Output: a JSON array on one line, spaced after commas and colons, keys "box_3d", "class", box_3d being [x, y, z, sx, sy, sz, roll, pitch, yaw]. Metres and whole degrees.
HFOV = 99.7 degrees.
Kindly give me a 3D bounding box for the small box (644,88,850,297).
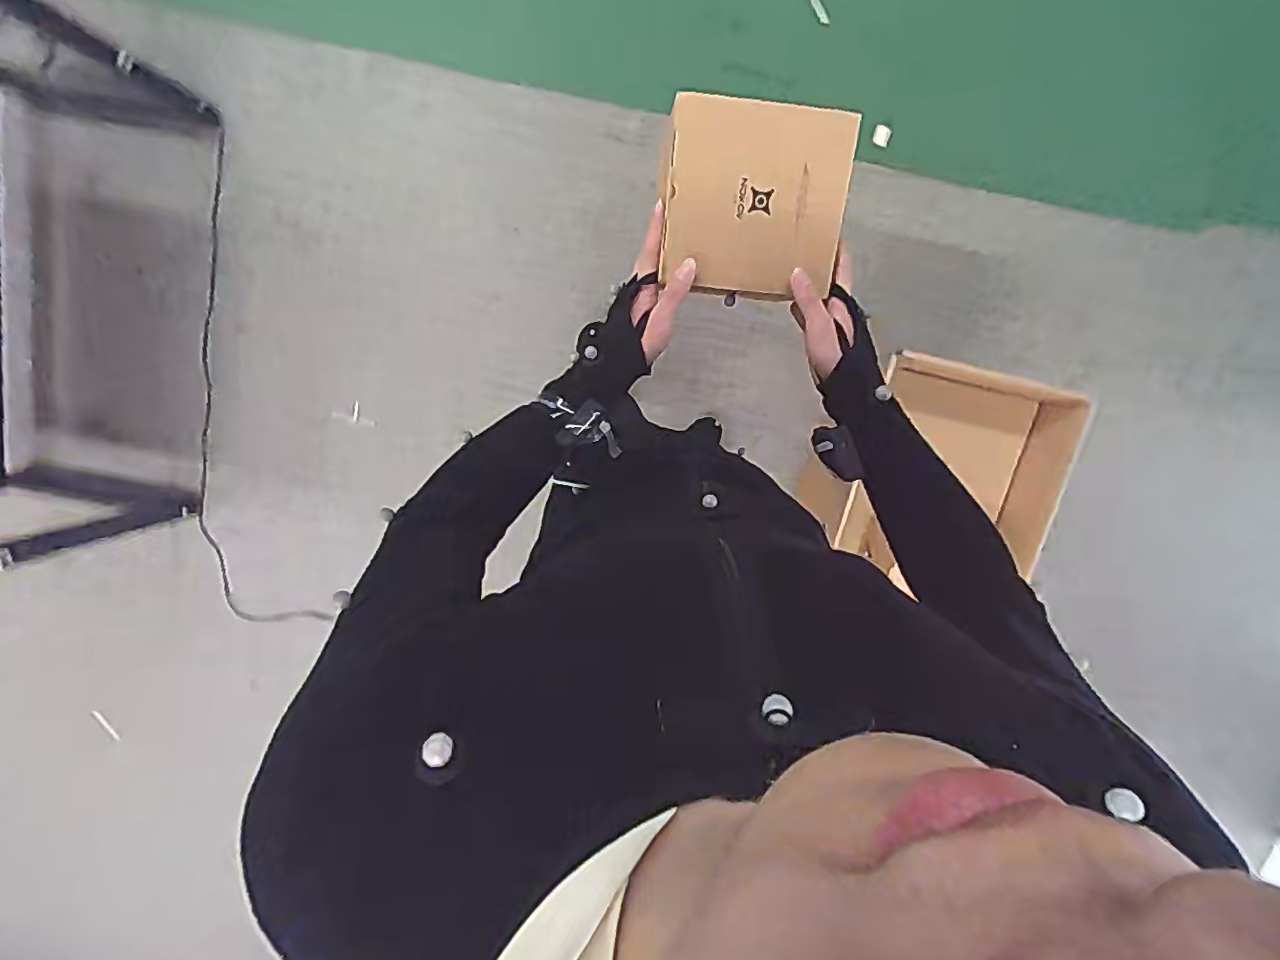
[{"box_3d": [0.098, -0.294, 0.590, 0.179, 0.176, 0.168, 3, 107, -4], "class": "small box"}]
